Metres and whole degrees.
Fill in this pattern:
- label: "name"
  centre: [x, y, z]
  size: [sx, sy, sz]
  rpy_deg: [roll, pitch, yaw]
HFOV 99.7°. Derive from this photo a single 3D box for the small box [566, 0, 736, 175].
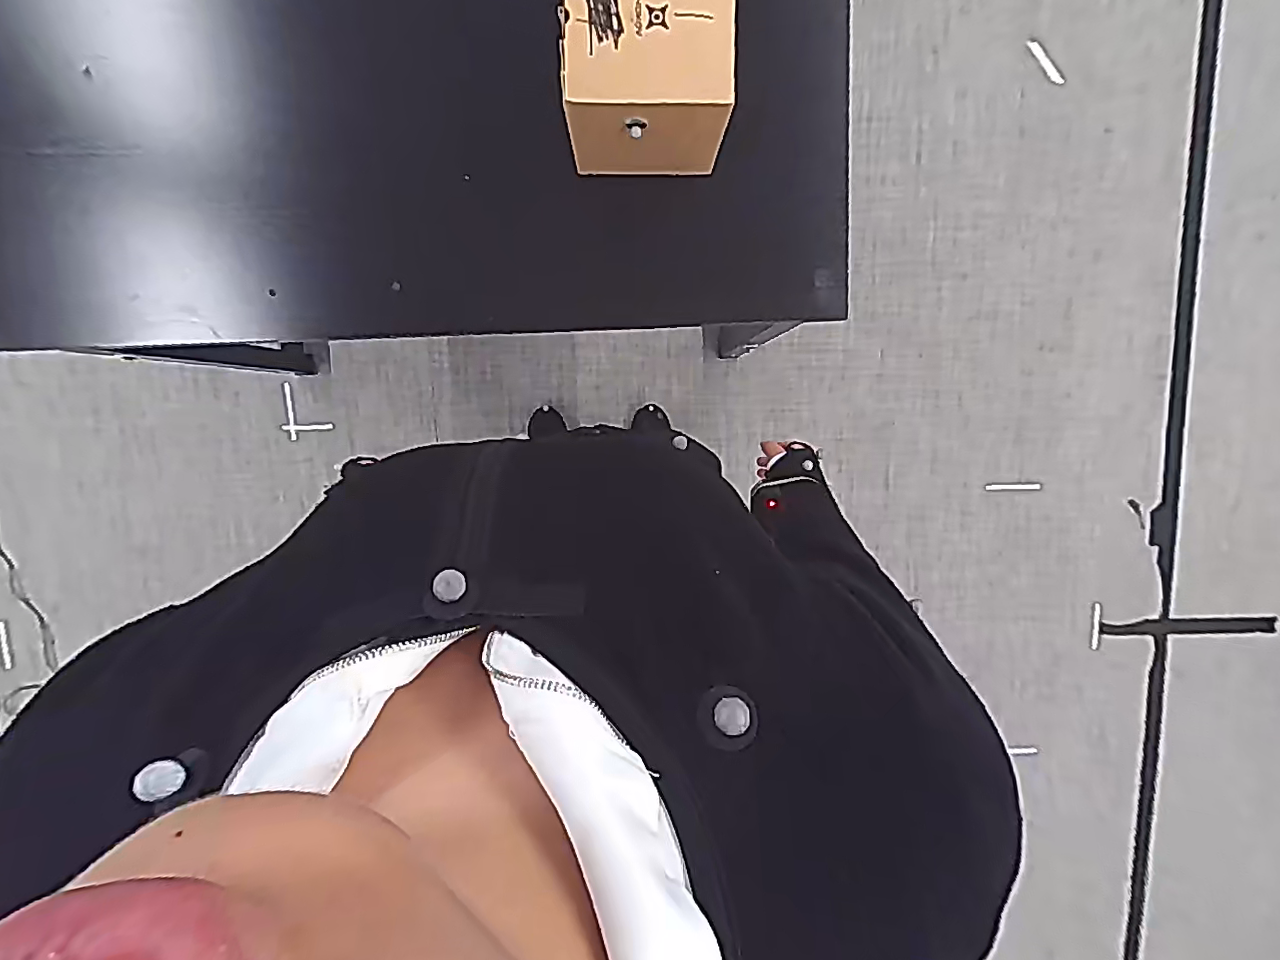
- label: "small box"
  centre: [0.011, -0.477, 0.630]
  size: [0.179, 0.176, 0.168]
  rpy_deg: [0, 97, -1]
